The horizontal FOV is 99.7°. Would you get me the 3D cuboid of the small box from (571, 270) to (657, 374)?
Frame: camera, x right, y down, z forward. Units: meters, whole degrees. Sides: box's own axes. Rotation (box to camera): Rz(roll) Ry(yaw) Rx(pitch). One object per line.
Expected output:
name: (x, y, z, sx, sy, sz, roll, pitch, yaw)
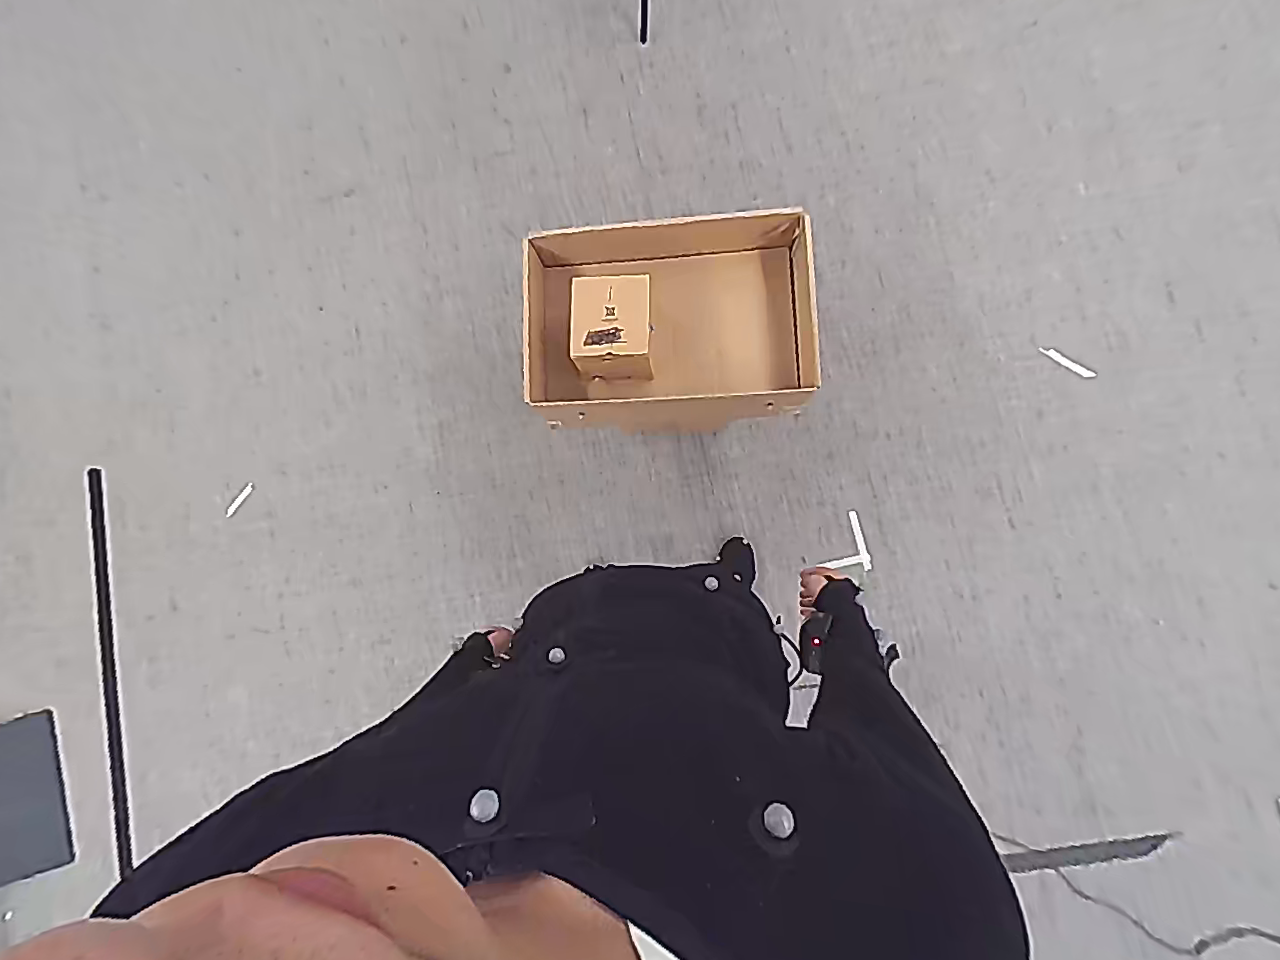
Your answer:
small box: (-0.050, -0.338, 1.191, 0.168, 0.176, 0.179, 0, 83, 6)
